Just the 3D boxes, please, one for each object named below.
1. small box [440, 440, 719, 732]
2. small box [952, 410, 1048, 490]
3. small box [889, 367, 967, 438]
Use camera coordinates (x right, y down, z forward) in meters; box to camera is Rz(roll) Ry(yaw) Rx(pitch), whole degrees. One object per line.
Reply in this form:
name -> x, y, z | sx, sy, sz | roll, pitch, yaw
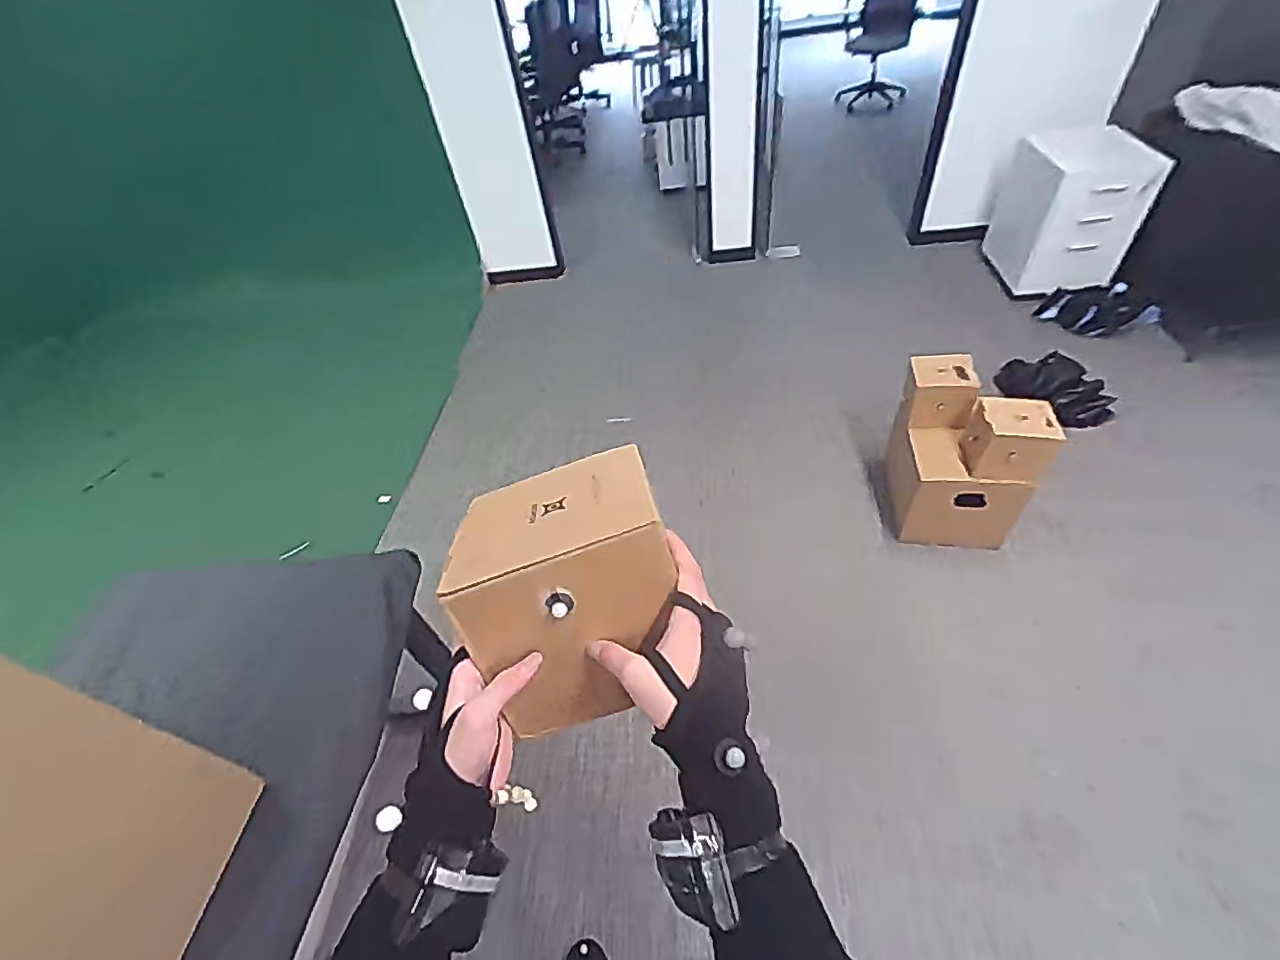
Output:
small box -> -0.047, 0.090, 0.485 | 0.179, 0.176, 0.168 | -19, 24, -1
small box -> 1.035, -0.086, 1.574 | 0.179, 0.176, 0.168 | 5, 46, 10
small box -> 0.925, -0.248, 1.750 | 0.179, 0.176, 0.168 | 2, 46, 13
